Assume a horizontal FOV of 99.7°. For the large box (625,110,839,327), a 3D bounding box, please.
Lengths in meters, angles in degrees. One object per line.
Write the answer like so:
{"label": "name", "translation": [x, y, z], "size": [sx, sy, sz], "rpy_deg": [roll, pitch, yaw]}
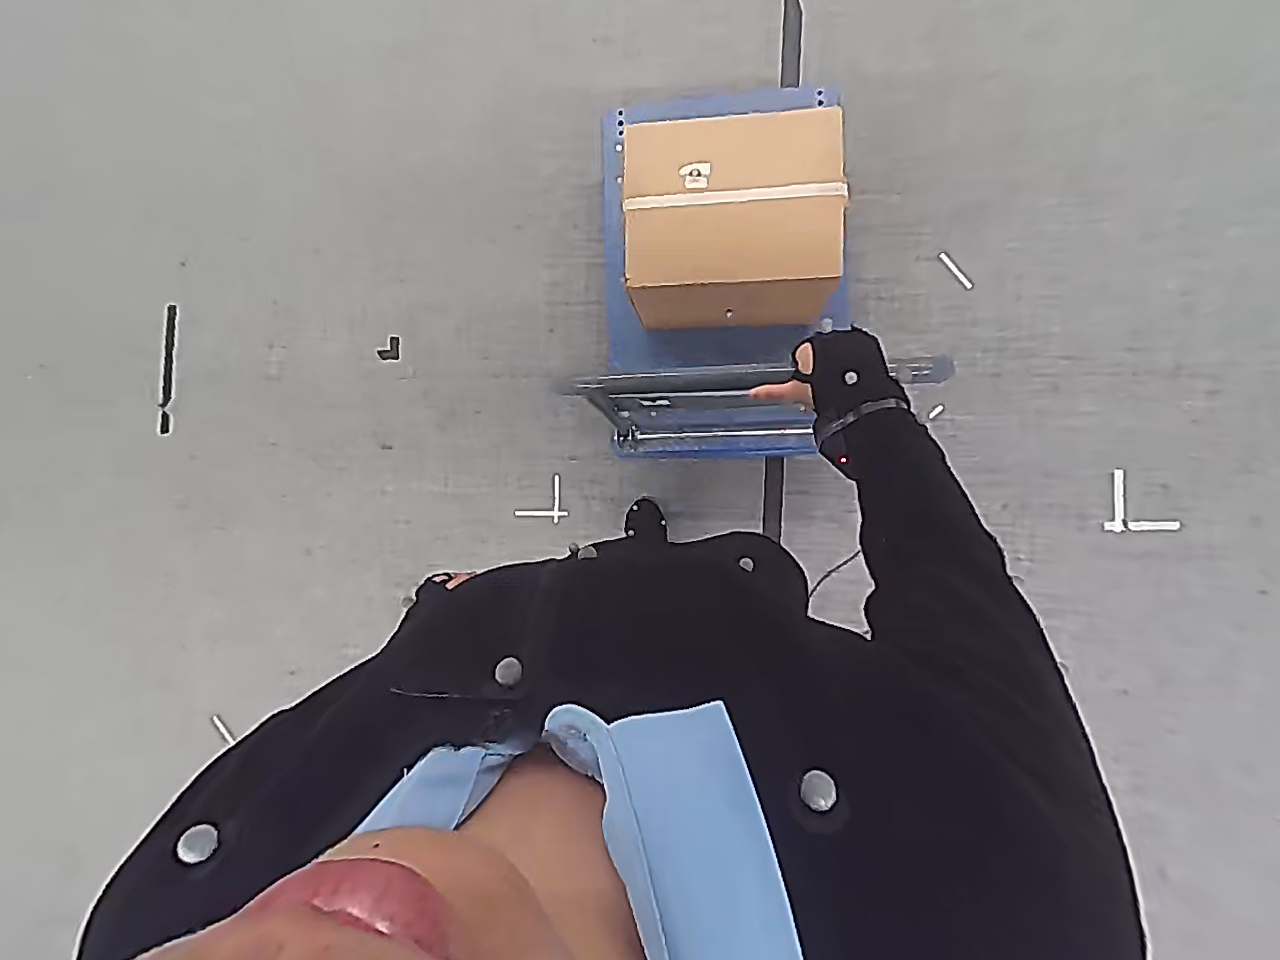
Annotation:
{"label": "large box", "translation": [0.192, -0.531, 1.175], "size": [0.408, 0.320, 0.320], "rpy_deg": [0, 89, 8]}
